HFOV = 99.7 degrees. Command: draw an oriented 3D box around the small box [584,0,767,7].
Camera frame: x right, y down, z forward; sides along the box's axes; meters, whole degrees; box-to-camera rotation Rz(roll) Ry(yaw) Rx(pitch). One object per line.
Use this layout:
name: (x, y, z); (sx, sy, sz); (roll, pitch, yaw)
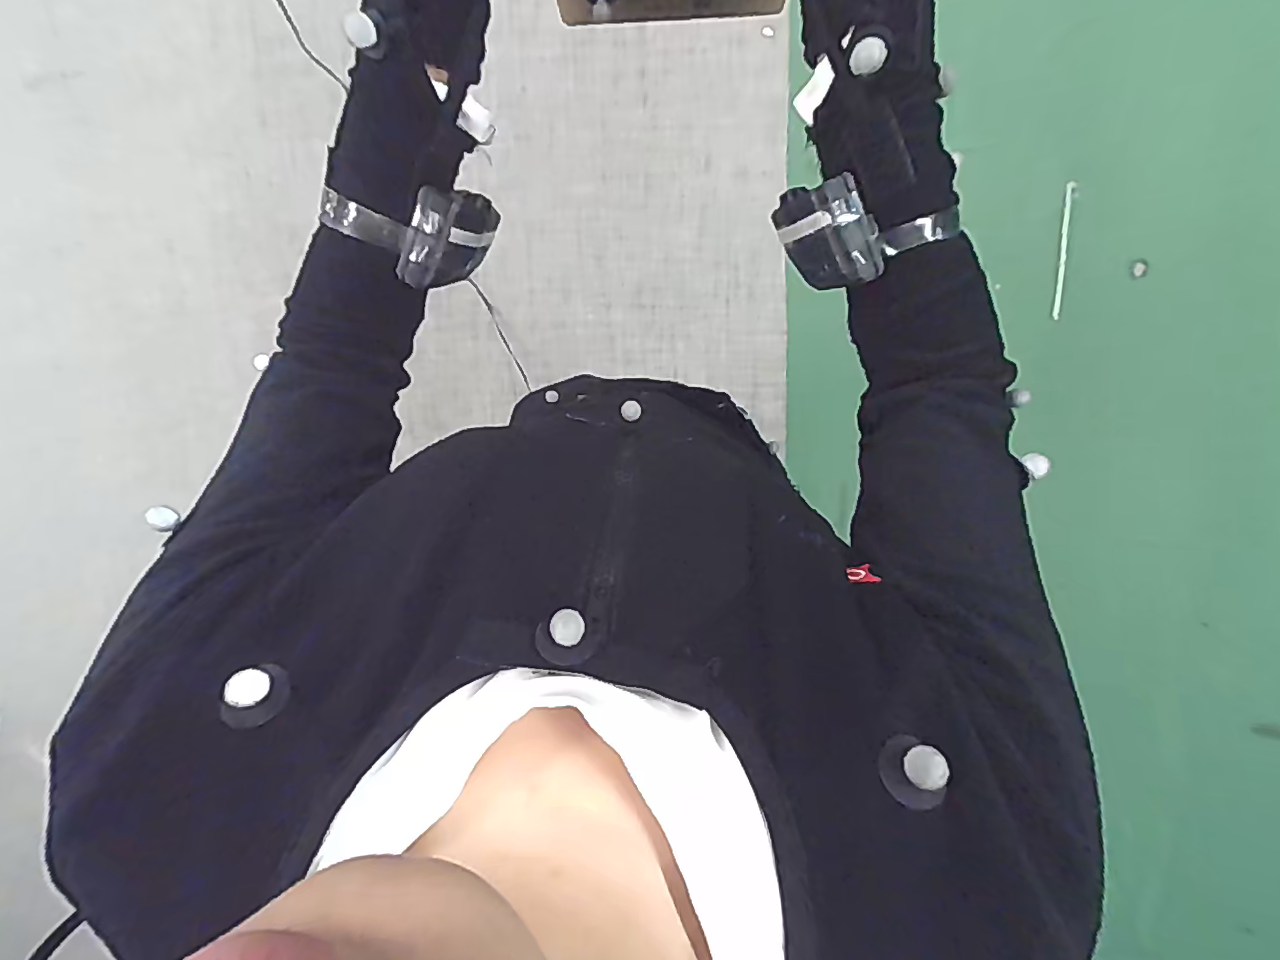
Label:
small box: (0.018, -0.416, 0.309); (0.168, 0.176, 0.179); (-1, 99, 3)
